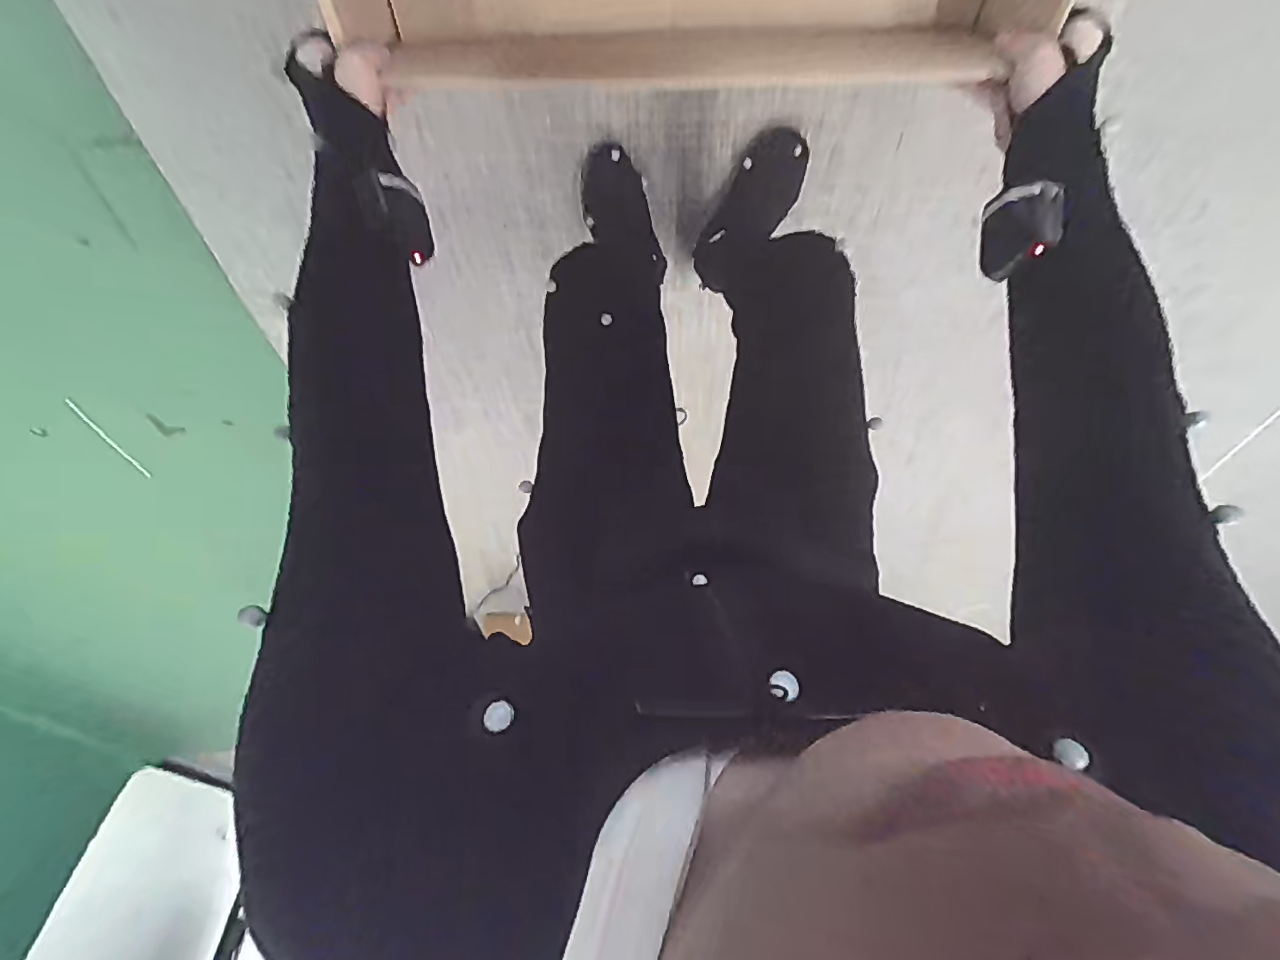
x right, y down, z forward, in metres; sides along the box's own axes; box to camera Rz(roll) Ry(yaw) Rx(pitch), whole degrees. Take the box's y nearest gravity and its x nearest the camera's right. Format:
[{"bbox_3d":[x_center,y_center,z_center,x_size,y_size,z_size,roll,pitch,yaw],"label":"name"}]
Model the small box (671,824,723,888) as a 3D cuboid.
[{"bbox_3d":[0.191,1.290,1.855,0.168,0.176,0.179,-1,140,4],"label":"small box"}]
